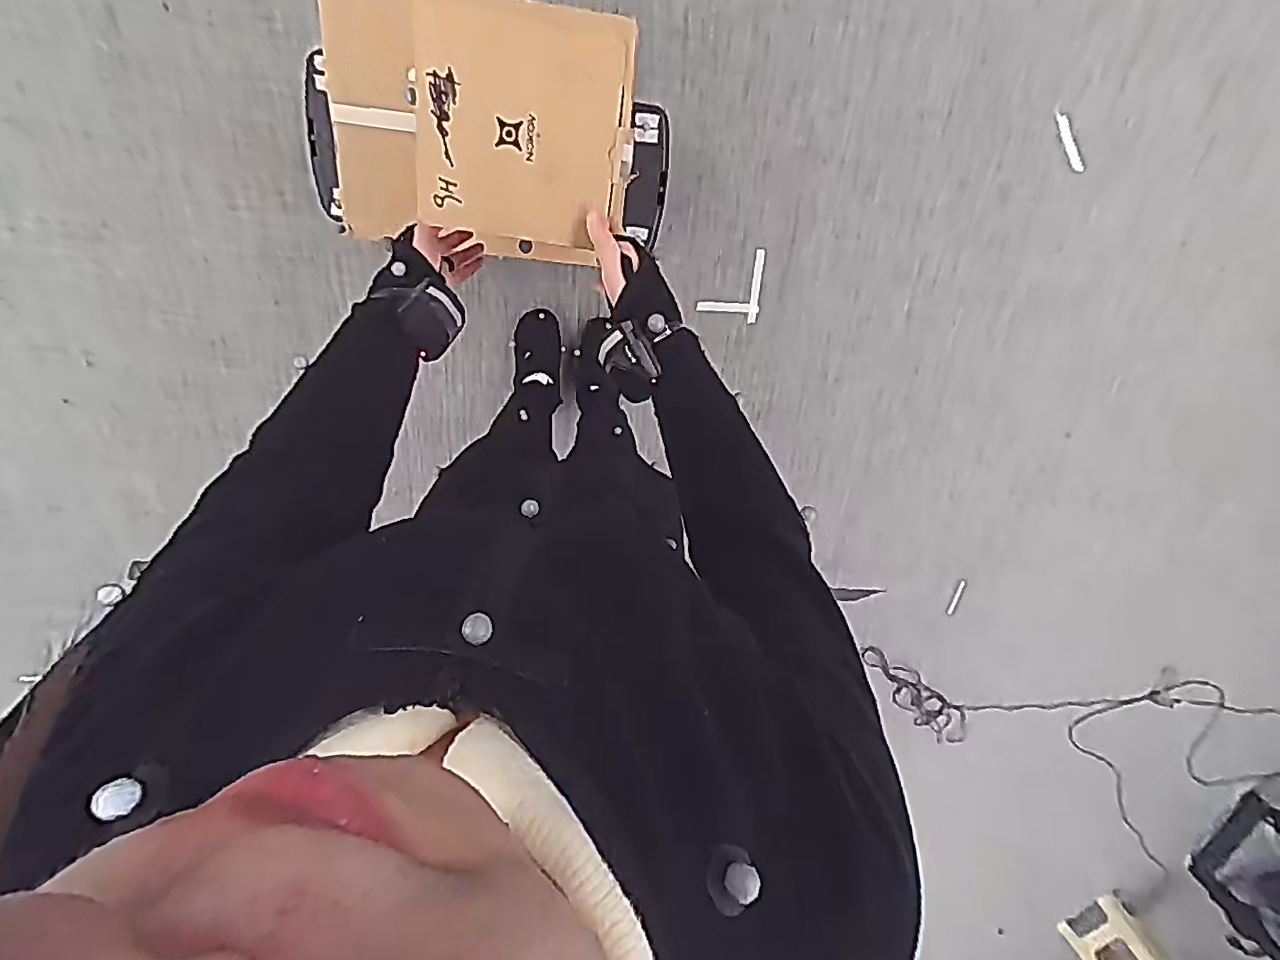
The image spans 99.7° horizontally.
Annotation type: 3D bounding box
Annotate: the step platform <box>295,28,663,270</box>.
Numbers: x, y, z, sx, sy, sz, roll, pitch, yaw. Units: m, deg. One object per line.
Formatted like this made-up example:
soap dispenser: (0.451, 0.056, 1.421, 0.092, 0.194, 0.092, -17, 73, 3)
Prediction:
step platform: (-0.299, -0.637, 1.091, 0.684, 0.204, 0.286, 9, 114, -9)

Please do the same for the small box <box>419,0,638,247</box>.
small box: (-0.108, -0.336, 0.535, 0.179, 0.176, 0.168, 5, 114, -9)

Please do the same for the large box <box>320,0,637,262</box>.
large box: (-0.222, -0.547, 0.877, 0.408, 0.320, 0.320, 4, 114, -6)
